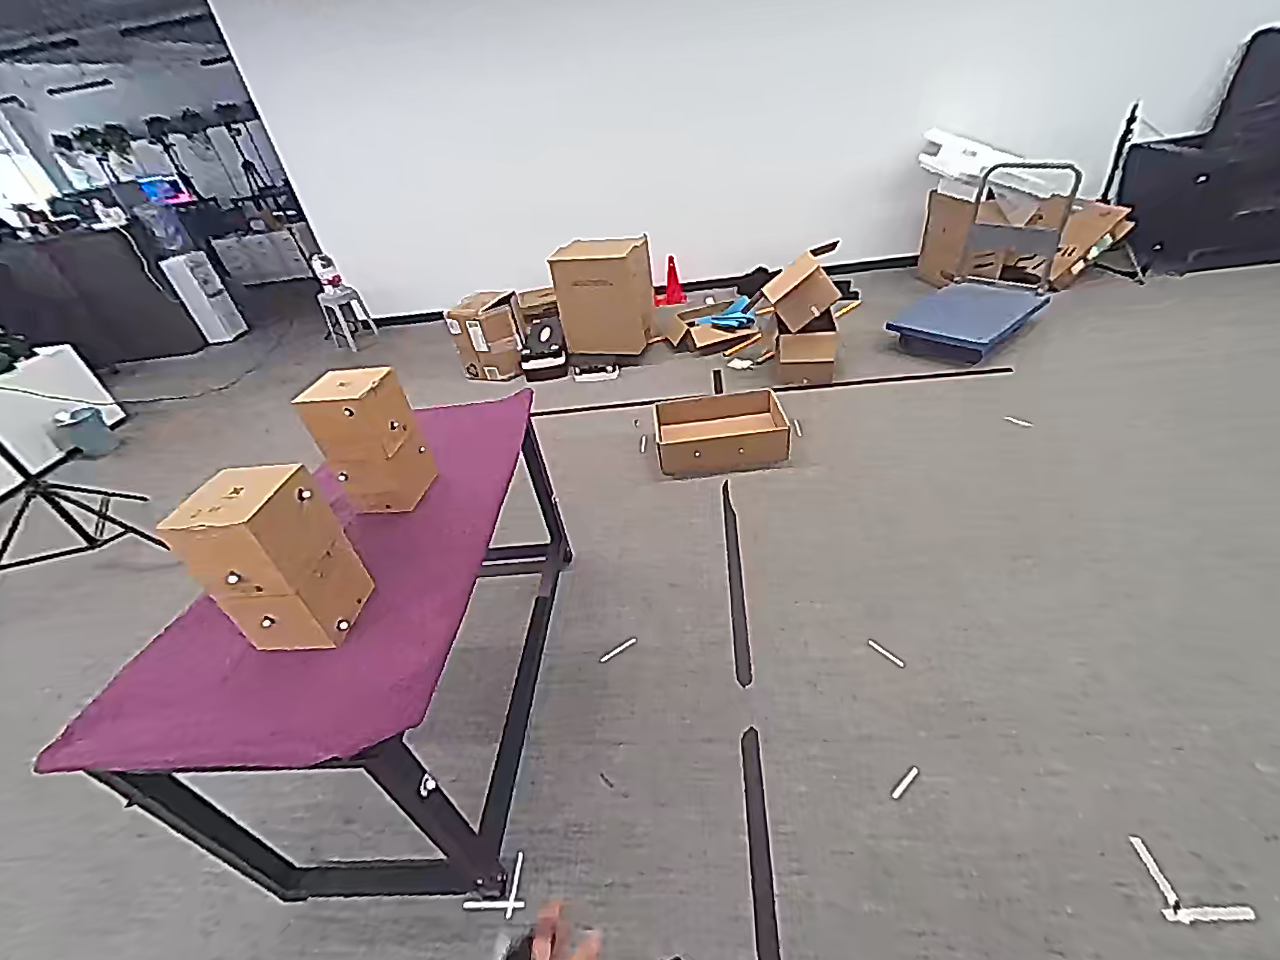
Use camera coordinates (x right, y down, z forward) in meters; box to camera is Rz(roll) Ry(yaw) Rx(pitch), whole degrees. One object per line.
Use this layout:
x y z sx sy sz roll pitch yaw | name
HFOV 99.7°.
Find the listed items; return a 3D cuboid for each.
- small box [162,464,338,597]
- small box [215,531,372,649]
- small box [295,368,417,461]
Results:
-0.690 0.091 0.987 0.168 0.176 0.179 -4 36 6 | small box
-0.678 0.222 1.088 0.179 0.176 0.168 -4 36 7 | small box
-0.684 -0.158 1.327 0.179 0.176 0.168 -2 36 9 | small box
